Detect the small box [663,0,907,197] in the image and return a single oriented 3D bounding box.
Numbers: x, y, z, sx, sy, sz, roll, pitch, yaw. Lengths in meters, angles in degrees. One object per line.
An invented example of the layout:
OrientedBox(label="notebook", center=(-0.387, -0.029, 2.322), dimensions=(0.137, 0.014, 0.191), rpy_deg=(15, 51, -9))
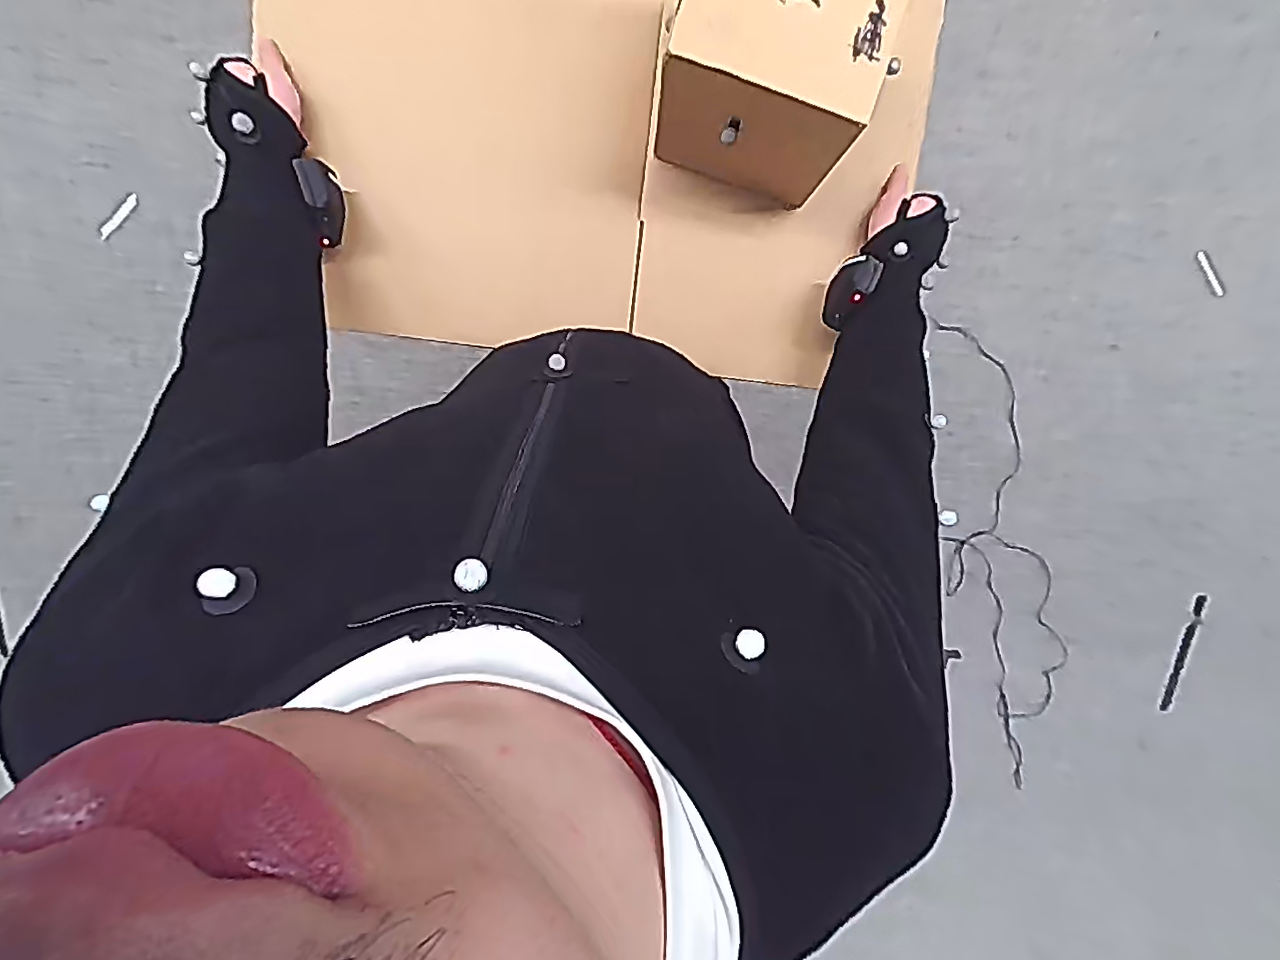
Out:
OrientedBox(label="small box", center=(0.126, -0.400, 0.512), dimensions=(0.179, 0.176, 0.168), rpy_deg=(18, 96, -3))
